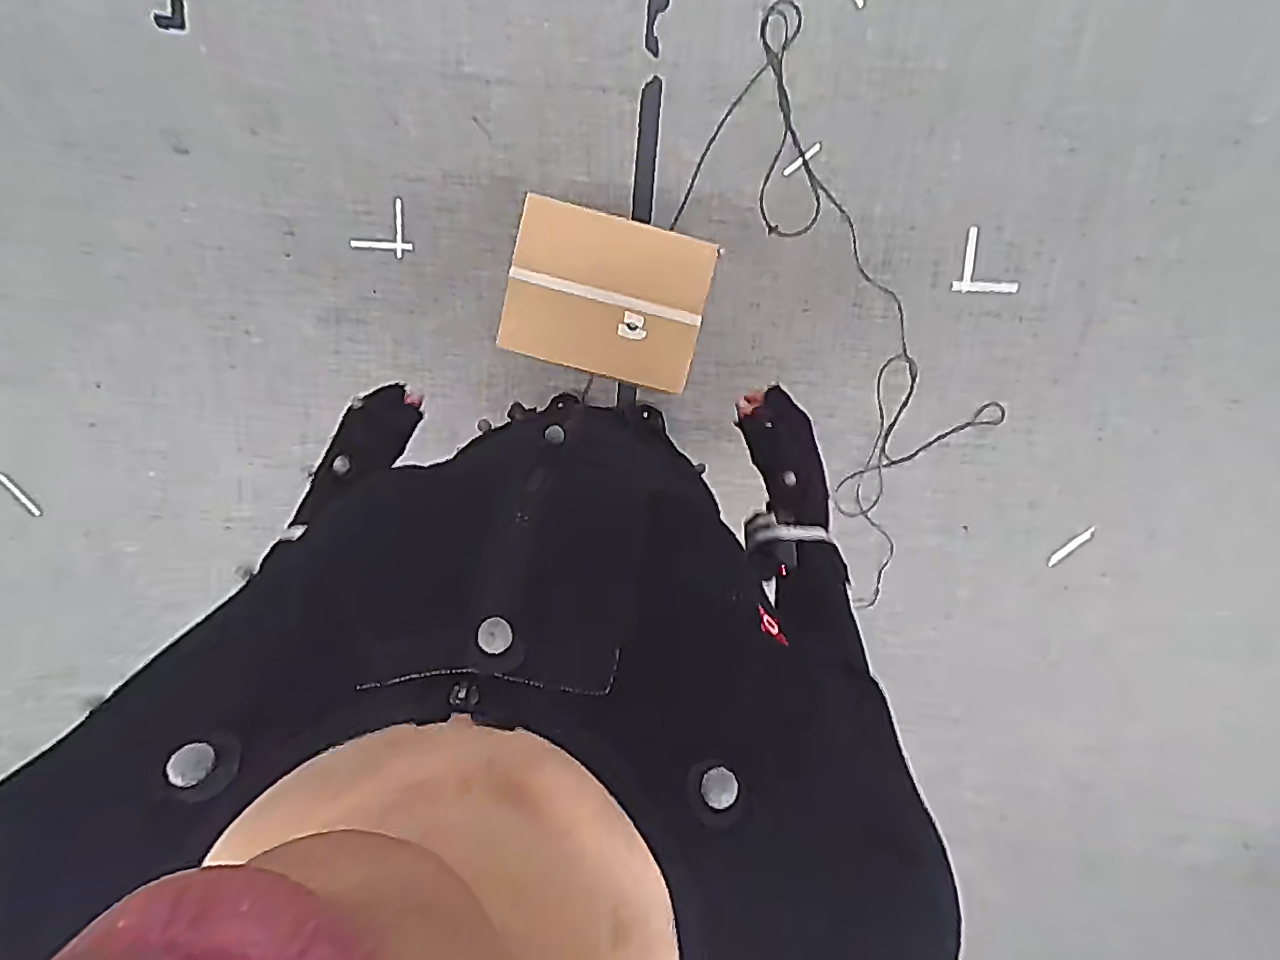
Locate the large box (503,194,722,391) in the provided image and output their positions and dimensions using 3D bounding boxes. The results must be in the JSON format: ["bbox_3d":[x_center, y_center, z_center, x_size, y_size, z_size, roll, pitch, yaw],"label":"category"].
[{"bbox_3d":[-0.065,-0.403,1.254,0.408,0.320,0.320,13,98,-4],"label":"large box"}]
